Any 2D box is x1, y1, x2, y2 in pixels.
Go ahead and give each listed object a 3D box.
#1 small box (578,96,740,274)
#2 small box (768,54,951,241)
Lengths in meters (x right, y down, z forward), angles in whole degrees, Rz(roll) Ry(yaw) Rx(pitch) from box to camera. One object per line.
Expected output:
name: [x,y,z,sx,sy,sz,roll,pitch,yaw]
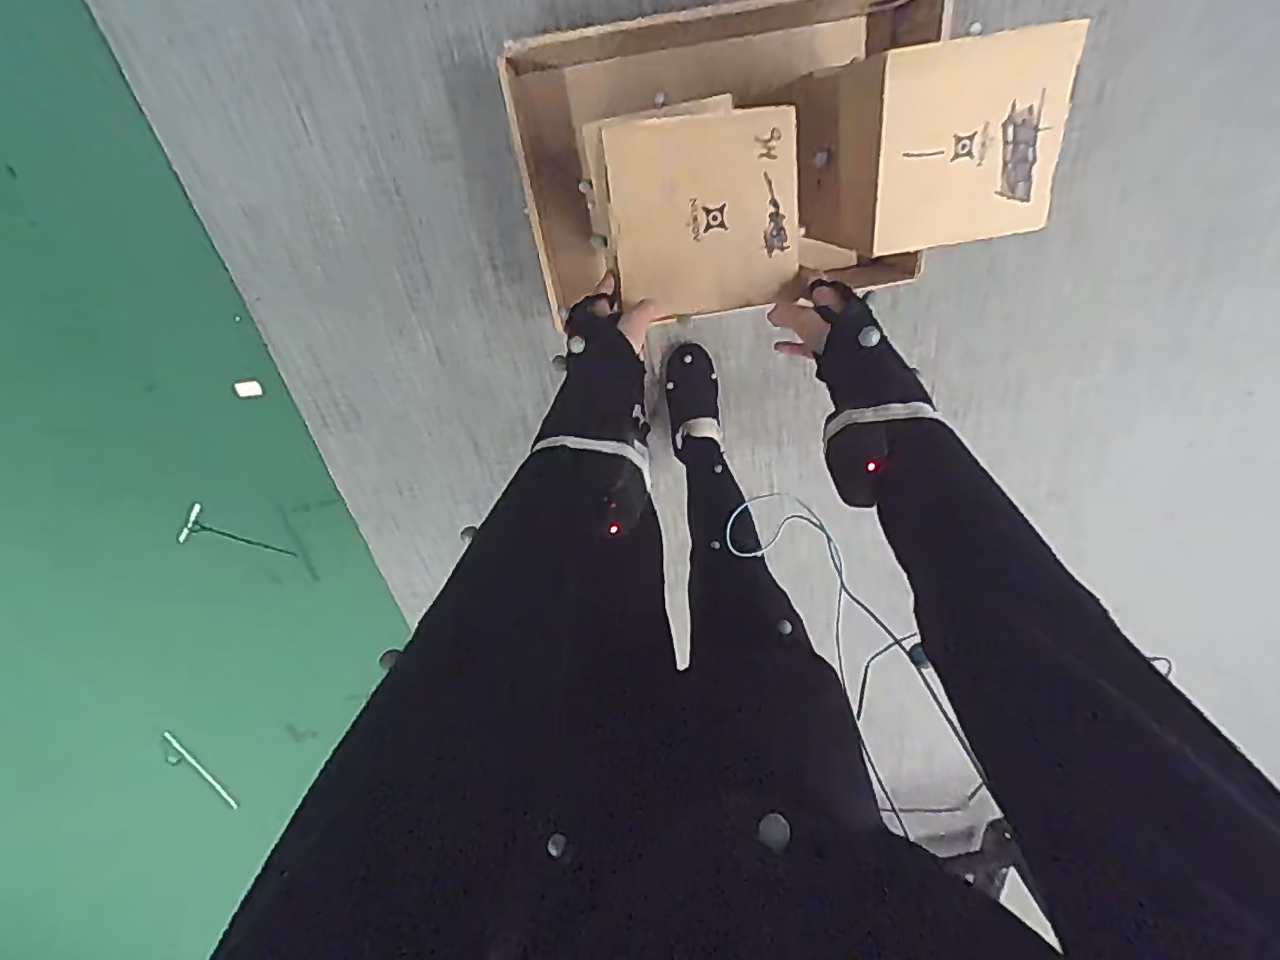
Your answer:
small box: [0.021,-0.382,0.716,0.179,0.176,0.168,-12,119,0]
small box: [0.271,-0.429,0.712,0.168,0.176,0.179,-9,119,0]
